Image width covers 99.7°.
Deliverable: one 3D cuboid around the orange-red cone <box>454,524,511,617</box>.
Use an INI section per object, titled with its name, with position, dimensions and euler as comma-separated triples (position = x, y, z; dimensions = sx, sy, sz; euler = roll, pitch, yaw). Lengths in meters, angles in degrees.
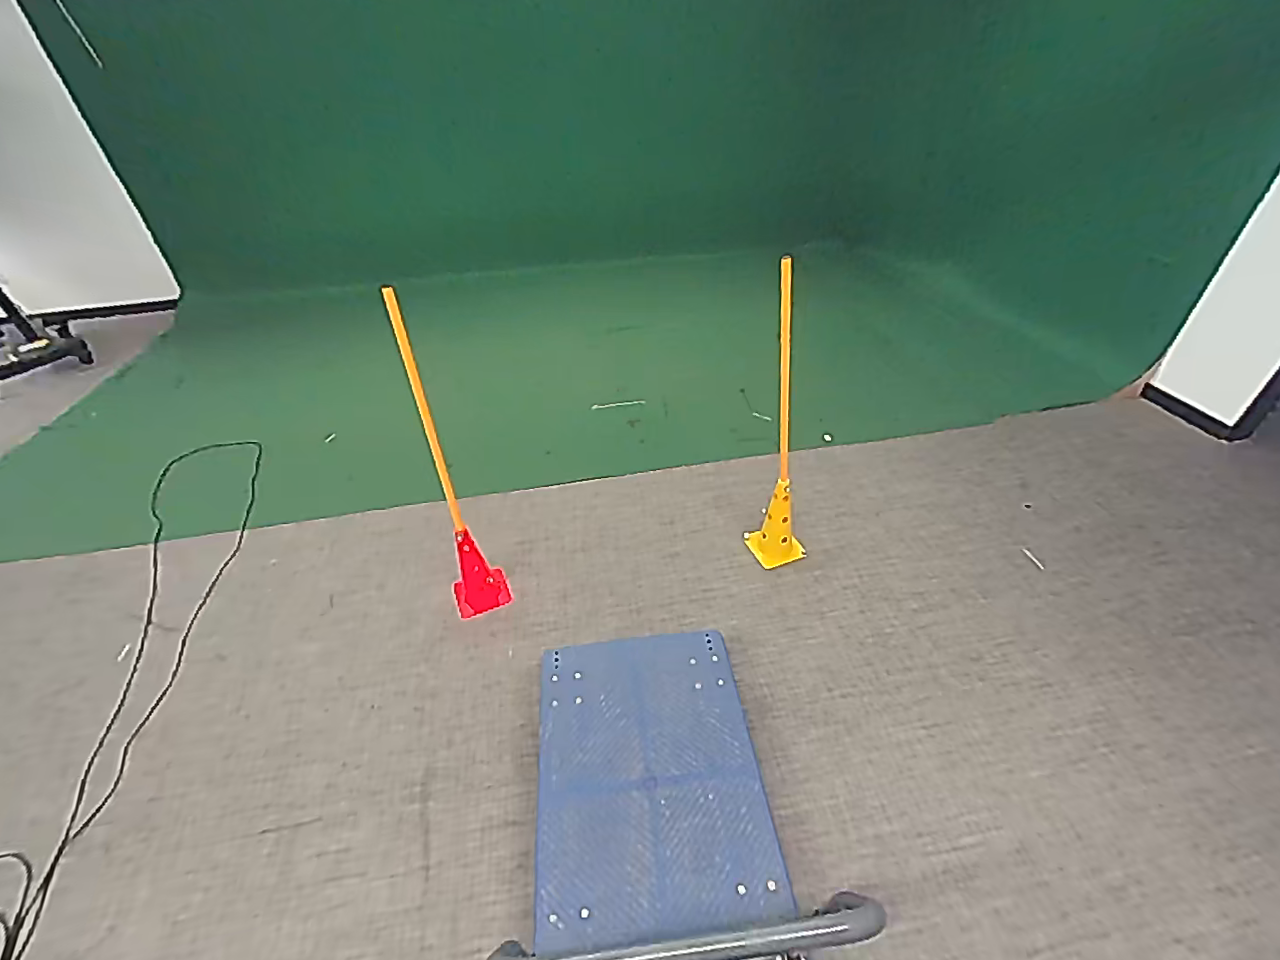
[orange-red cone]
position = -0.622, 0.303, 1.990
dimensions = 0.199, 0.360, 0.198
euler = -19, 41, -16
